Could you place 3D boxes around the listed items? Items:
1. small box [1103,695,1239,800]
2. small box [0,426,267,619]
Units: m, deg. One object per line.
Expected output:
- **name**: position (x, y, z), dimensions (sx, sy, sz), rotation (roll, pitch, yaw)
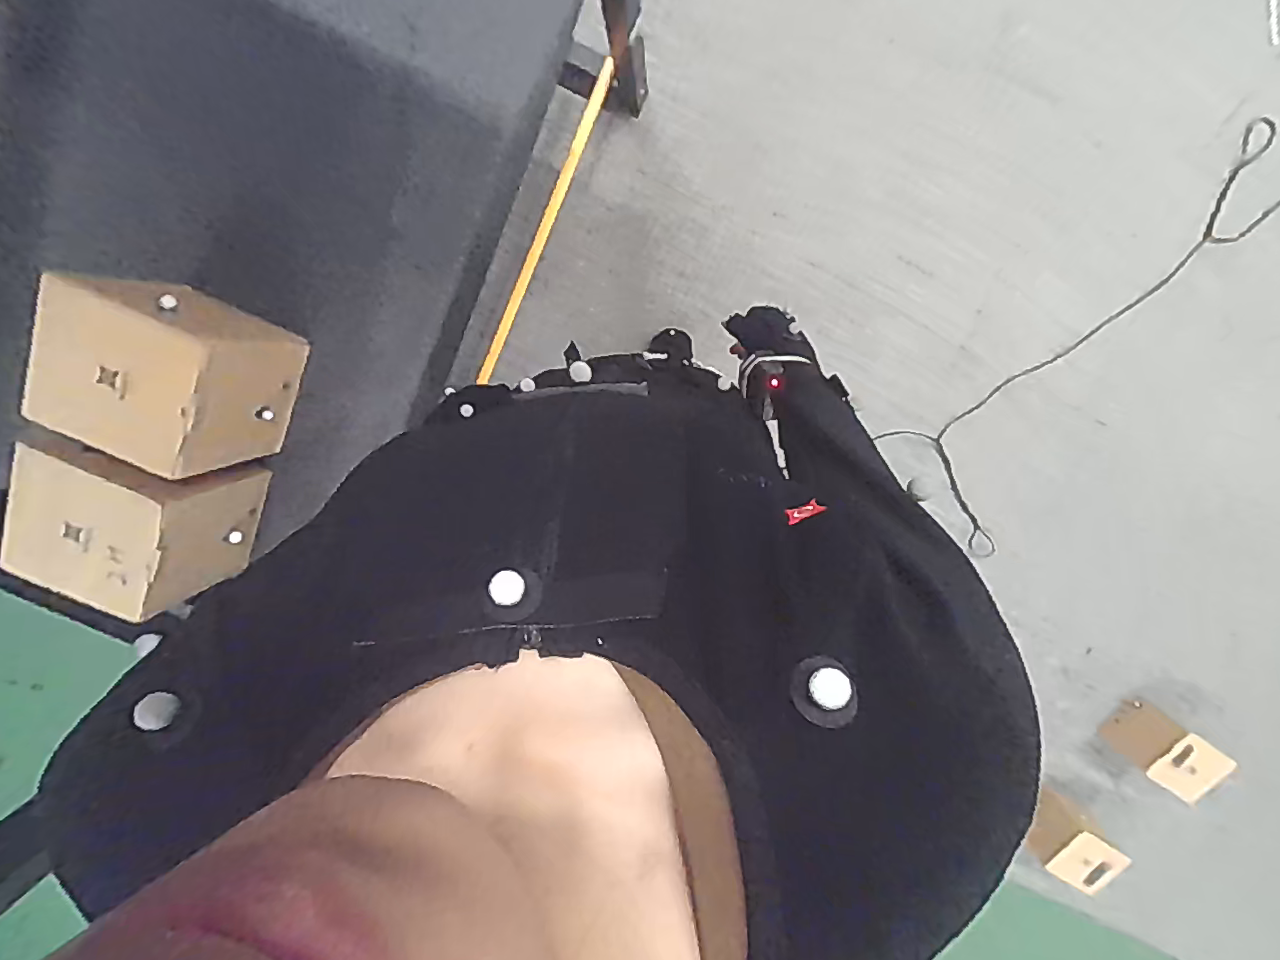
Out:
- **small box**: position (1.466, 0.735, 1.509), dimensions (0.179, 0.176, 0.168), rotation (33, 104, -6)
- **small box**: position (-0.633, 0.040, 0.691), dimensions (0.179, 0.176, 0.168), rotation (24, 105, -3)
